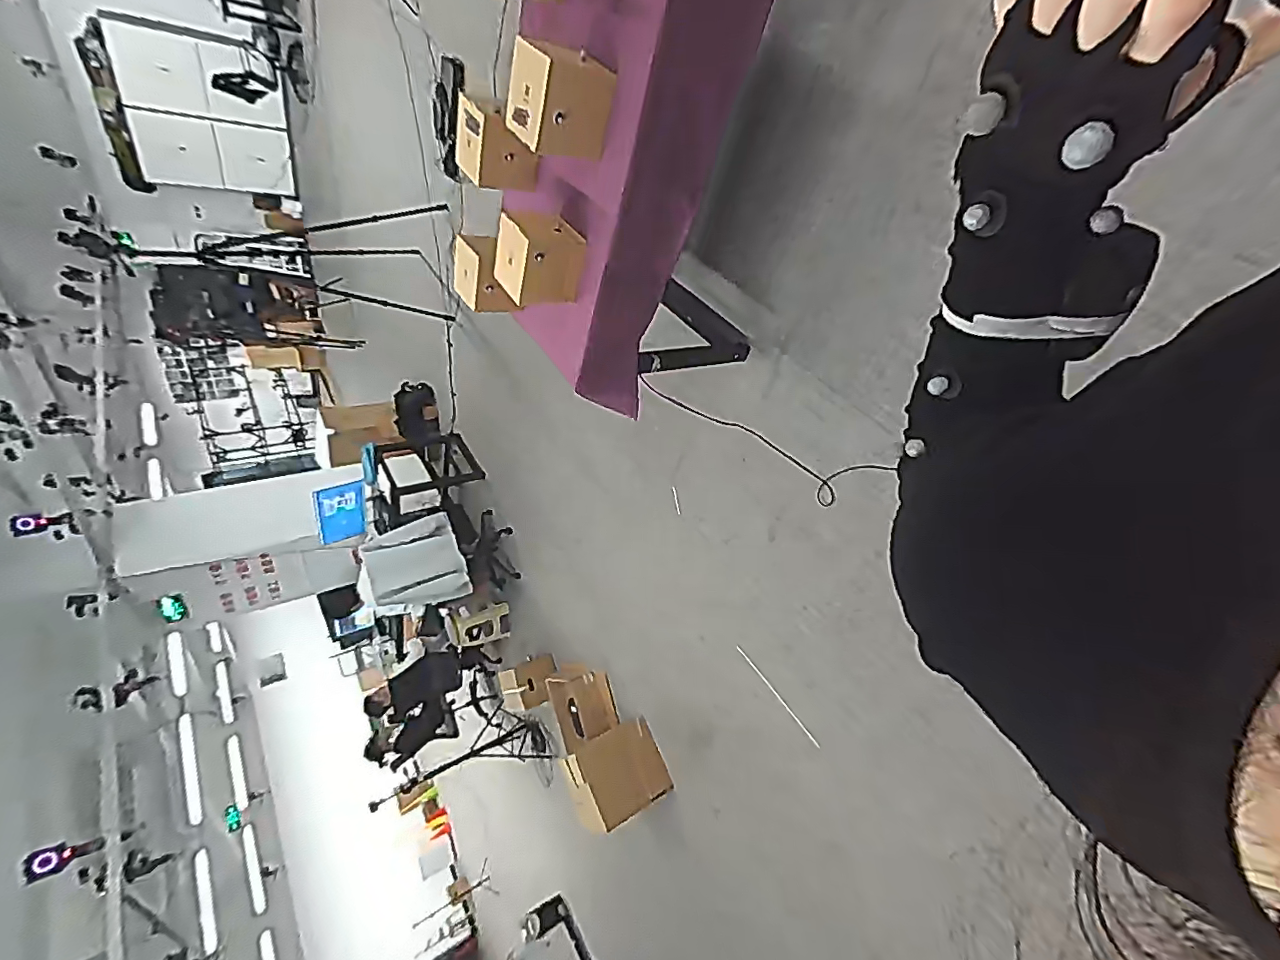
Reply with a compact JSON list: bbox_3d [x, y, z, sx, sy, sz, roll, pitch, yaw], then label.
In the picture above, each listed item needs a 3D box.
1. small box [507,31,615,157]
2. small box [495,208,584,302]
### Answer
[{"bbox_3d":[-0.177,-0.851,1.206,0.168,0.176,0.179,53,138,28],"label":"small box"},{"bbox_3d":[-0.265,-0.588,1.424,0.168,0.176,0.179,52,138,30],"label":"small box"}]
